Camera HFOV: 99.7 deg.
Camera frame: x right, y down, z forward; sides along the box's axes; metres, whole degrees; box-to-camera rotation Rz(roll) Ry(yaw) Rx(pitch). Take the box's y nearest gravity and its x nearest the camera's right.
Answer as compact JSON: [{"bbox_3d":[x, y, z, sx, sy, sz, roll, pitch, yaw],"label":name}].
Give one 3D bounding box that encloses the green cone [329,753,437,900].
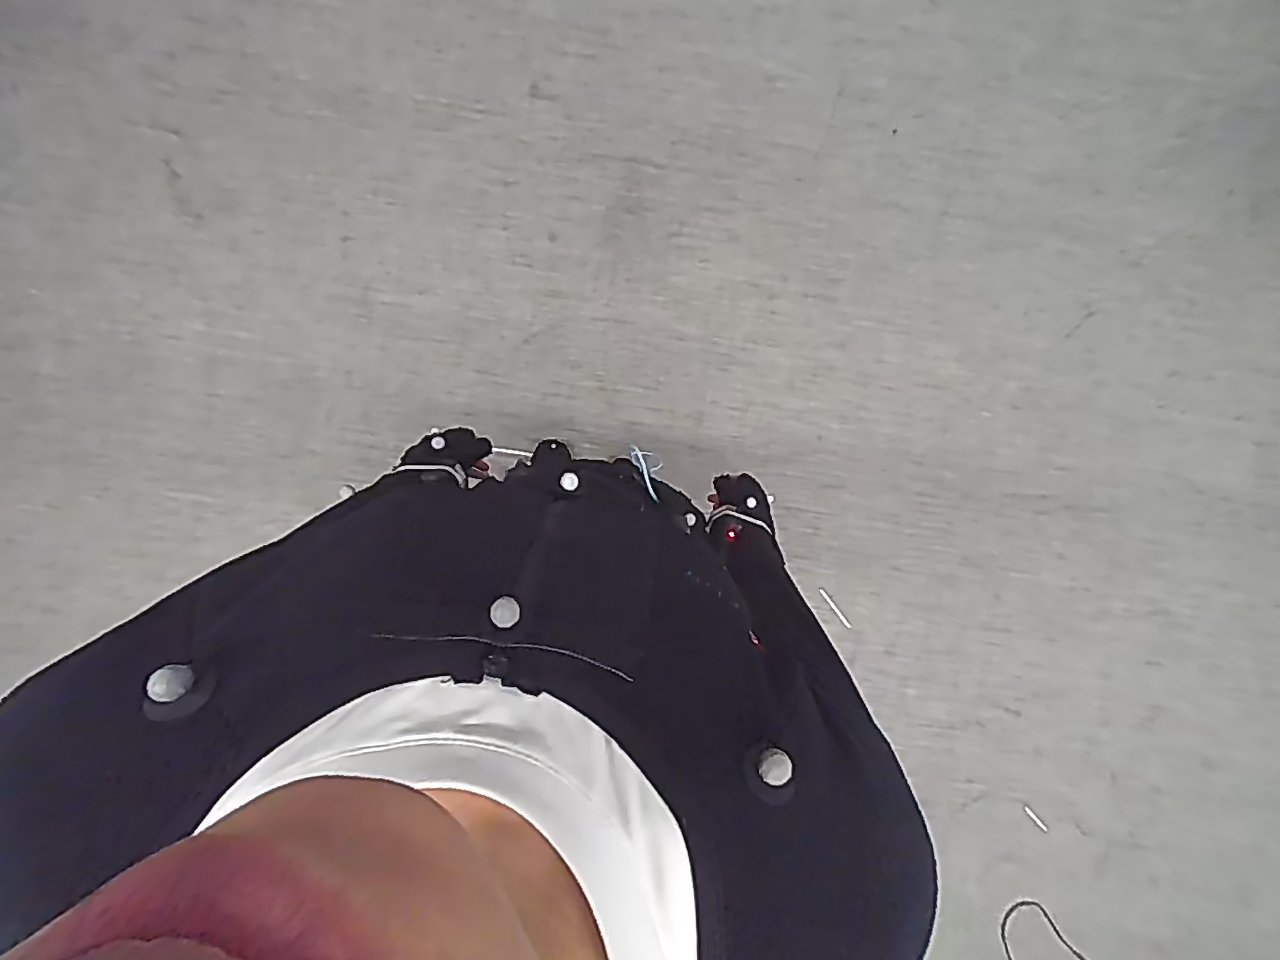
[{"bbox_3d":[-0.665,0.875,1.338,0.202,0.368,0.200,7,94,-4],"label":"green cone"}]
